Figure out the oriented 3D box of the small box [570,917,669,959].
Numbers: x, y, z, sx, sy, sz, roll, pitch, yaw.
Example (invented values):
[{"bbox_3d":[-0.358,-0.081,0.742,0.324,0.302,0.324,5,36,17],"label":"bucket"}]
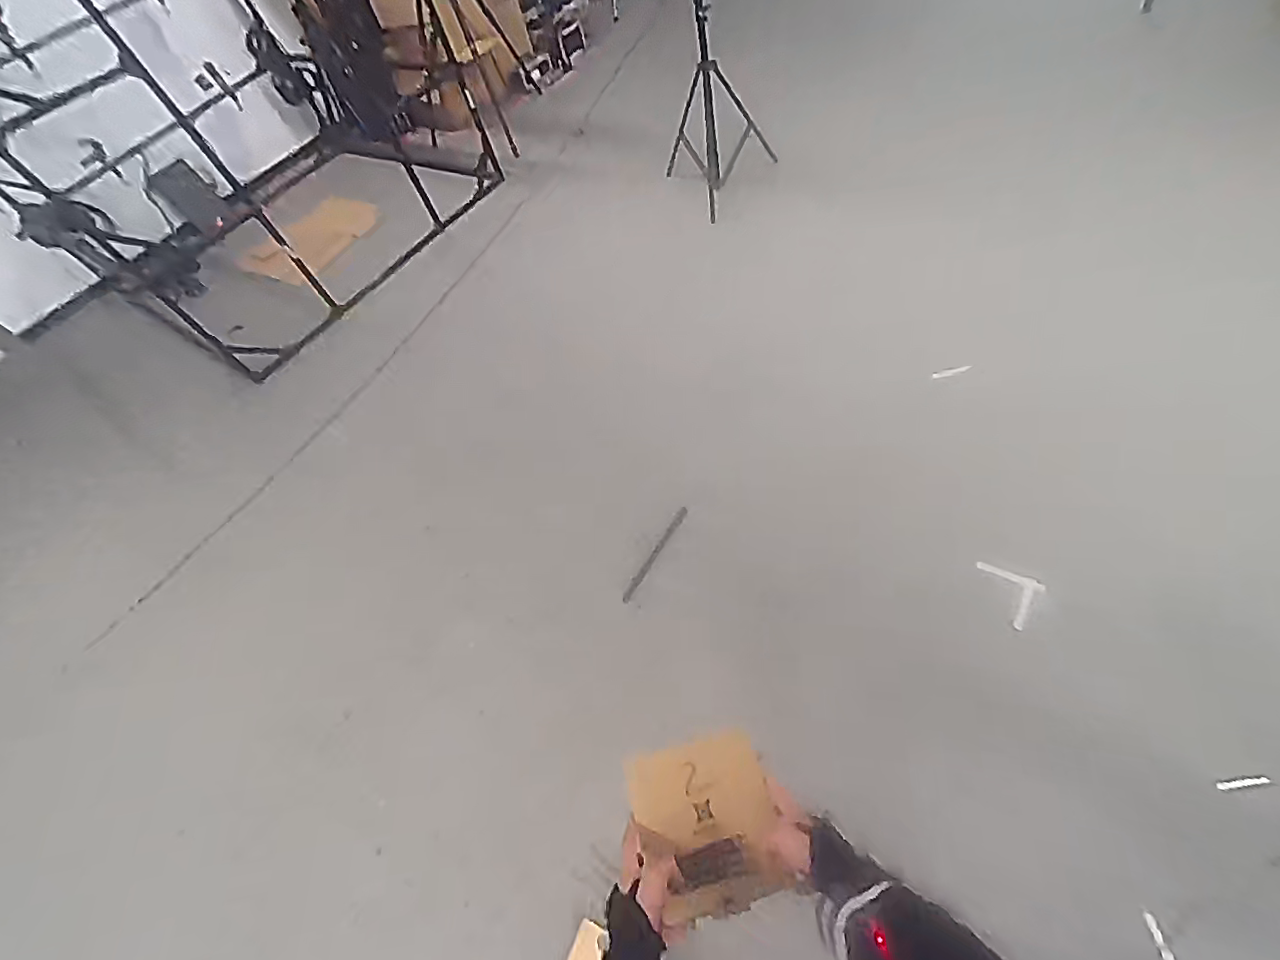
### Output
[{"bbox_3d":[-0.055,1.068,1.149,0.179,0.176,0.168,15,61,24],"label":"small box"}]
